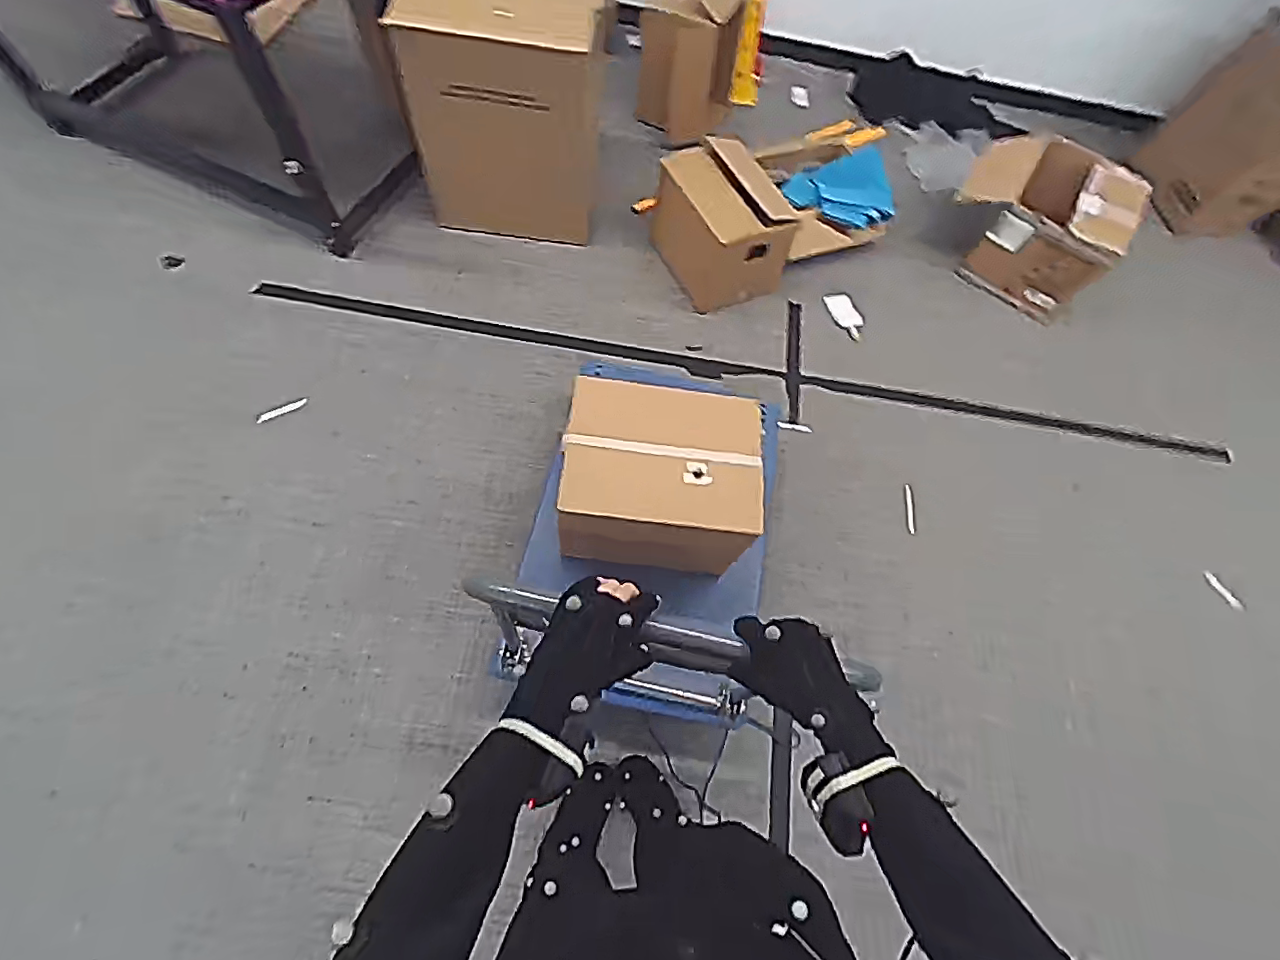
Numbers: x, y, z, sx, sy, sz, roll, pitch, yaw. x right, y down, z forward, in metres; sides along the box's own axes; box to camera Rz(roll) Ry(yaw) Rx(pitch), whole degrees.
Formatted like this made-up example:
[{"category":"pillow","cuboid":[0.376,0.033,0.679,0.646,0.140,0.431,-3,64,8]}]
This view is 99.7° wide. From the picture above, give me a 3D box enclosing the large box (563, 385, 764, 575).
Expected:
[{"category":"large box","cuboid":[0.039,0.015,1.244,0.408,0.320,0.320,7,65,-5]}]
